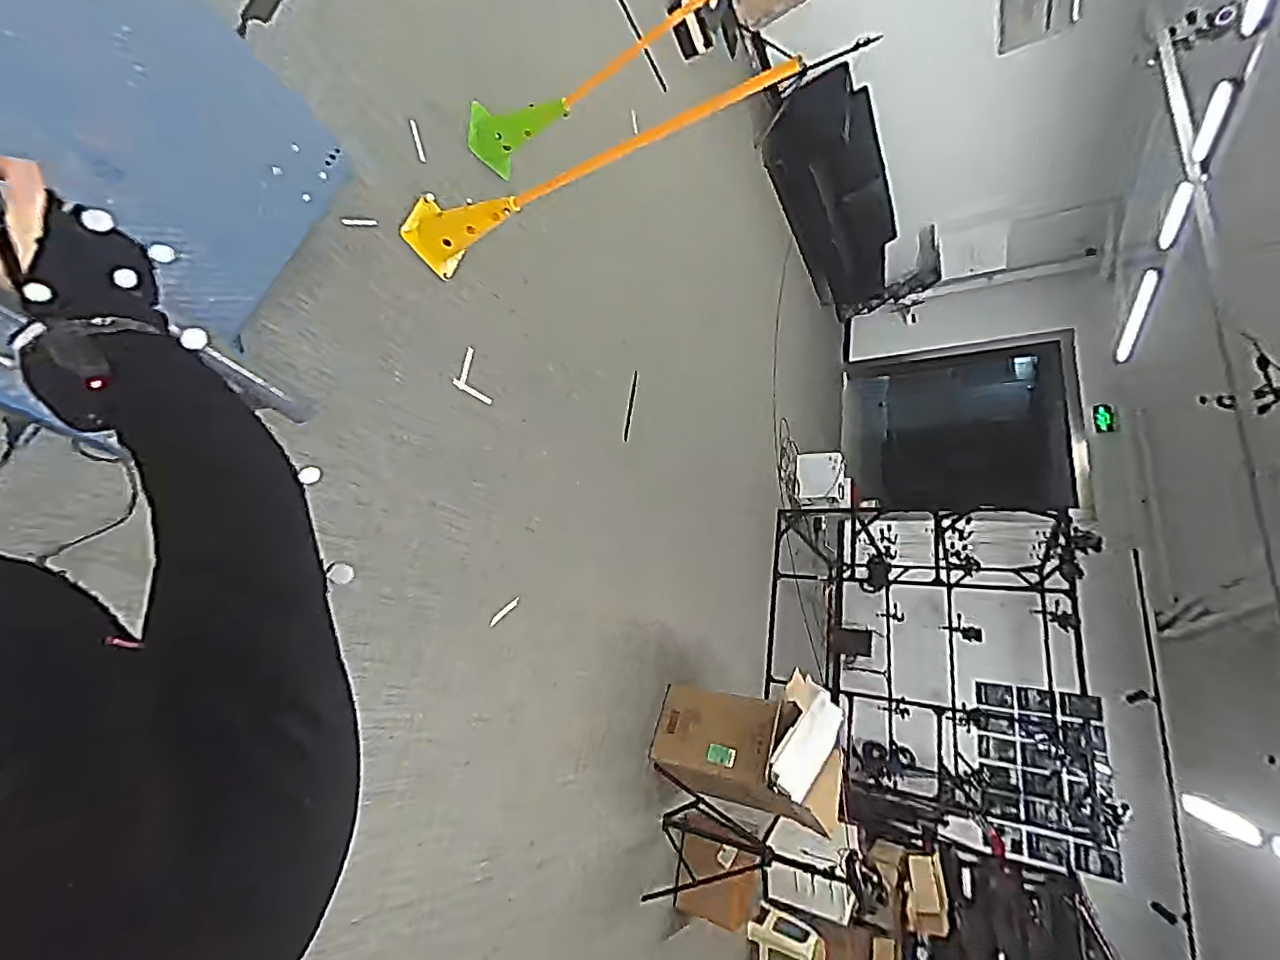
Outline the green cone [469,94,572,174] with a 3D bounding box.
[{"bbox_3d":[-0.390,-1.252,1.870,0.200,0.368,0.202,14,78,-58],"label":"green cone"}]
